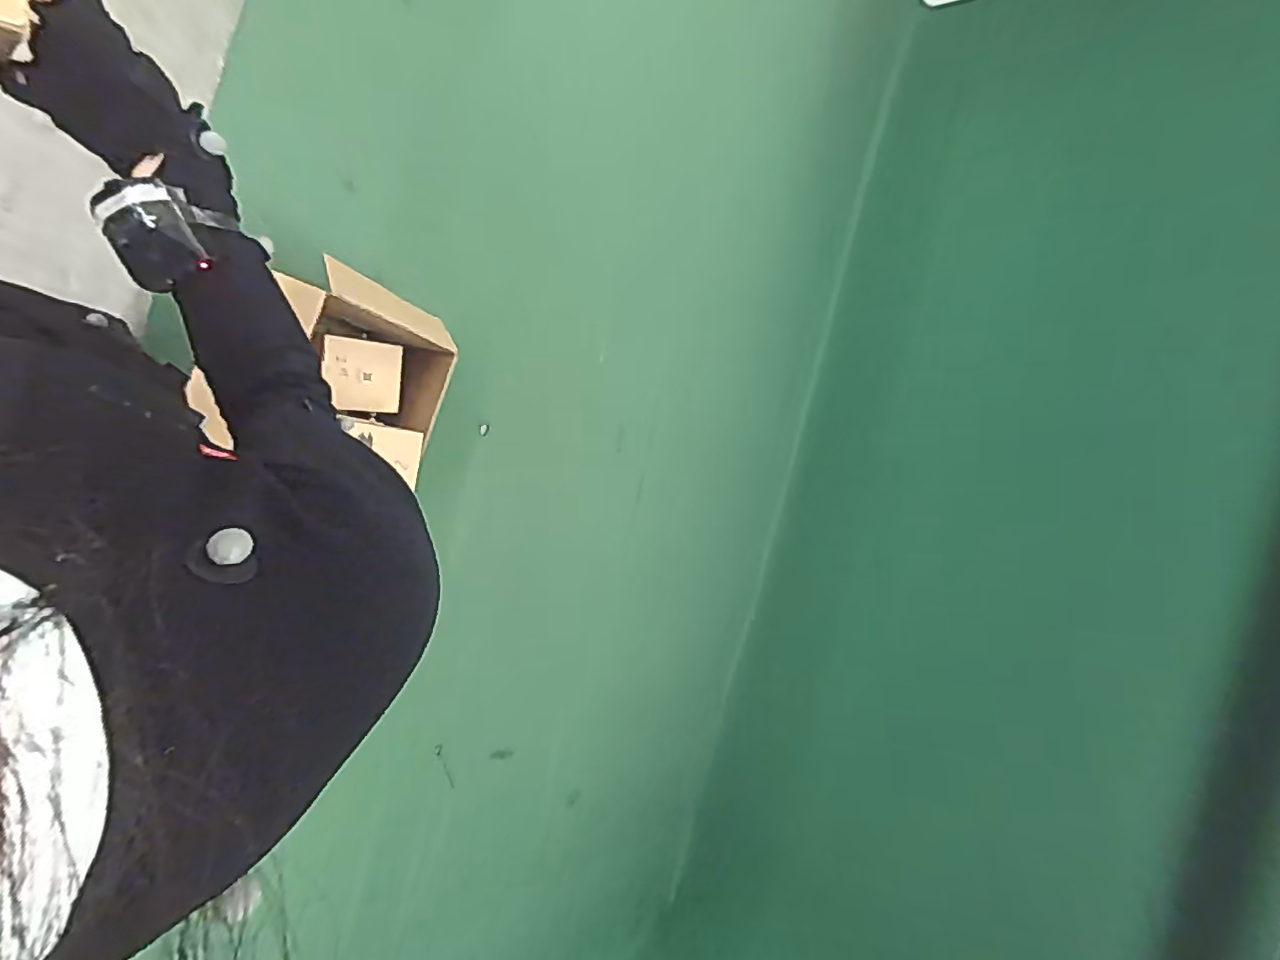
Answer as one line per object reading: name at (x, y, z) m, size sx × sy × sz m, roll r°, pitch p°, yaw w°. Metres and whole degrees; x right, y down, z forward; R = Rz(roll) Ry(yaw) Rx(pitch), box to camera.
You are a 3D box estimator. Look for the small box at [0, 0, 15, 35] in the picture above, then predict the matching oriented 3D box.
small box at (-0.448, -0.359, 0.264) m, size 0.168 × 0.176 × 0.179 m, roll -10°, pitch 120°, yaw -50°
